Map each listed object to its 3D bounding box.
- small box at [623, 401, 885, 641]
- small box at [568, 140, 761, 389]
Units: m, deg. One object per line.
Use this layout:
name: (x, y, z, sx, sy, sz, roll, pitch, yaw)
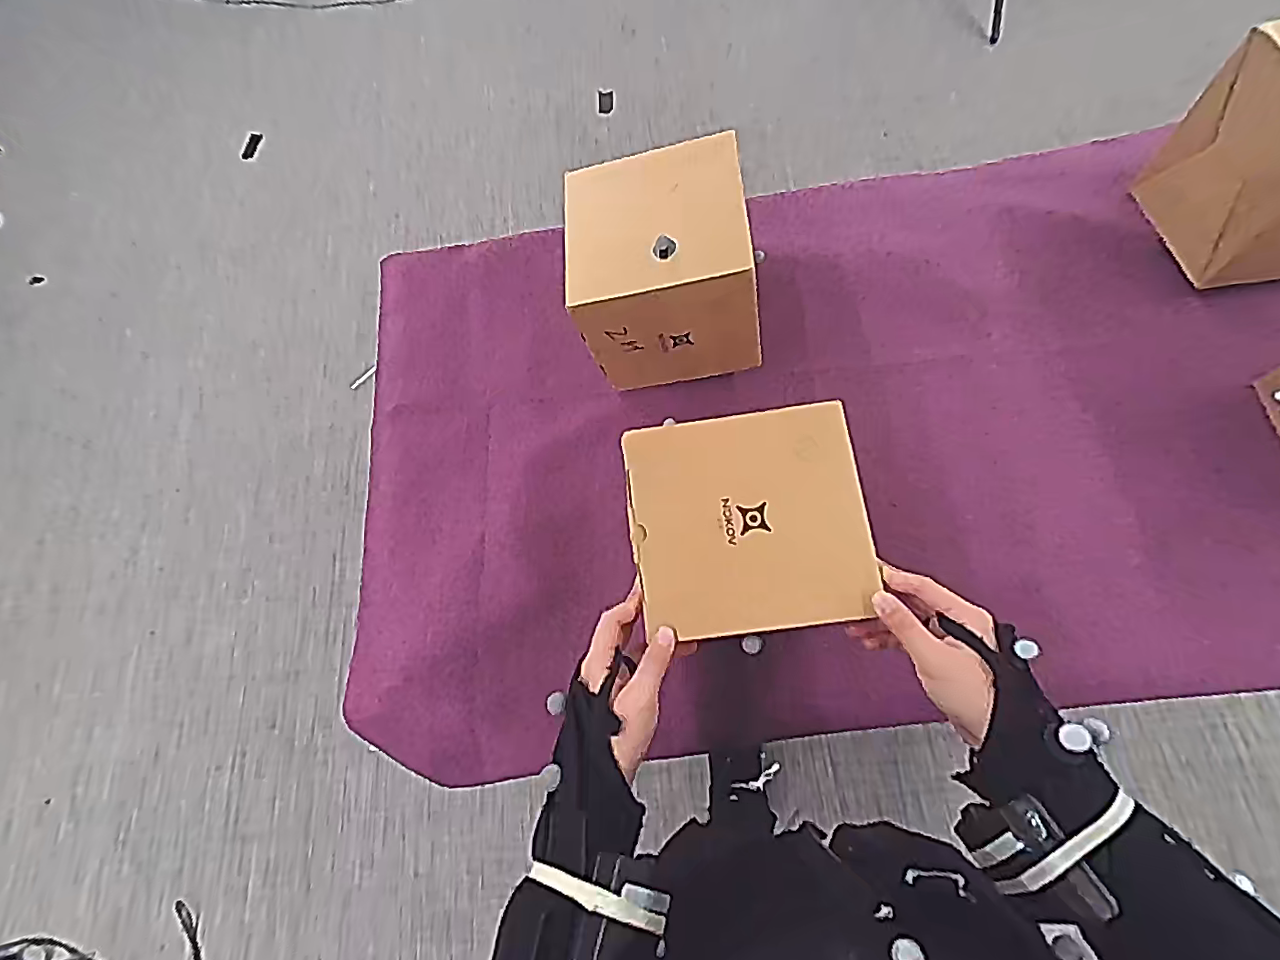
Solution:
small box: (0.086, 0.044, 0.481, 0.179, 0.176, 0.168, -8, 76, 3)
small box: (0.029, -0.221, 0.577, 0.179, 0.168, 0.176, -7, 69, 12)
